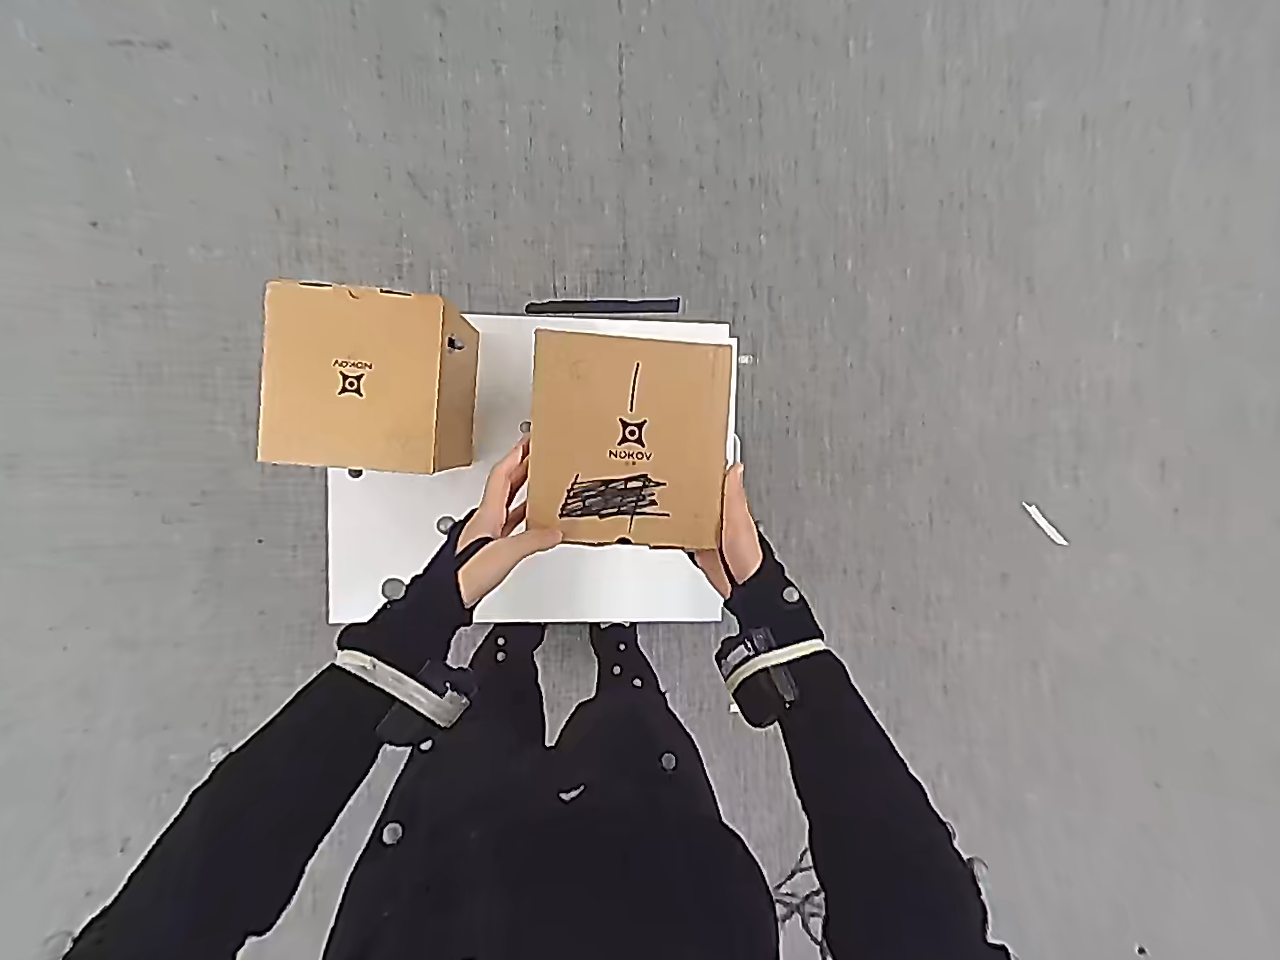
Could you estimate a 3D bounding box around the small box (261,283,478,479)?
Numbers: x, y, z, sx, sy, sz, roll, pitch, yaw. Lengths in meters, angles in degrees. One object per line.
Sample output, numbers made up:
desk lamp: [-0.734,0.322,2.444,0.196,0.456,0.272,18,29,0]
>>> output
small box: [-0.281,-0.098,0.599,0.168,0.176,0.179,4,92,-6]

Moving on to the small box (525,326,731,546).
small box: [-0.018,-0.040,0.531,0.168,0.176,0.179,3,94,-7]
